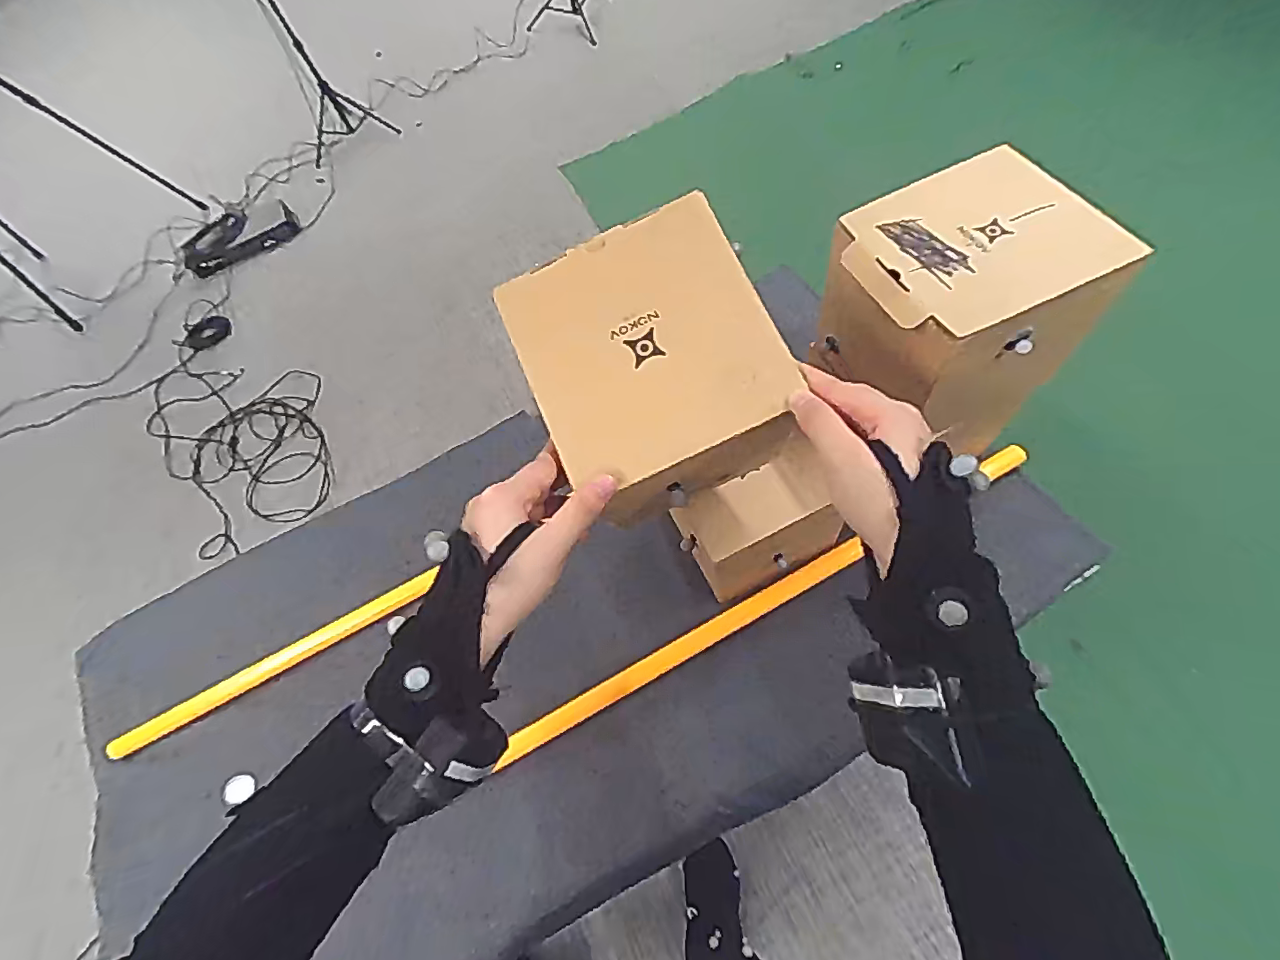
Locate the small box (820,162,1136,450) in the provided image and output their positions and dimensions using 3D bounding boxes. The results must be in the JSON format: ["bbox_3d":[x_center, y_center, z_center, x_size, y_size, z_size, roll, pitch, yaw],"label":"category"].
[{"bbox_3d":[0.292,-0.156,0.523,0.179,0.176,0.168,-25,62,-3],"label":"small box"}]

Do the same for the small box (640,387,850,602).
[{"bbox_3d":[0.119,0.029,0.644,0.168,0.176,0.179,-26,62,-3],"label":"small box"}]
